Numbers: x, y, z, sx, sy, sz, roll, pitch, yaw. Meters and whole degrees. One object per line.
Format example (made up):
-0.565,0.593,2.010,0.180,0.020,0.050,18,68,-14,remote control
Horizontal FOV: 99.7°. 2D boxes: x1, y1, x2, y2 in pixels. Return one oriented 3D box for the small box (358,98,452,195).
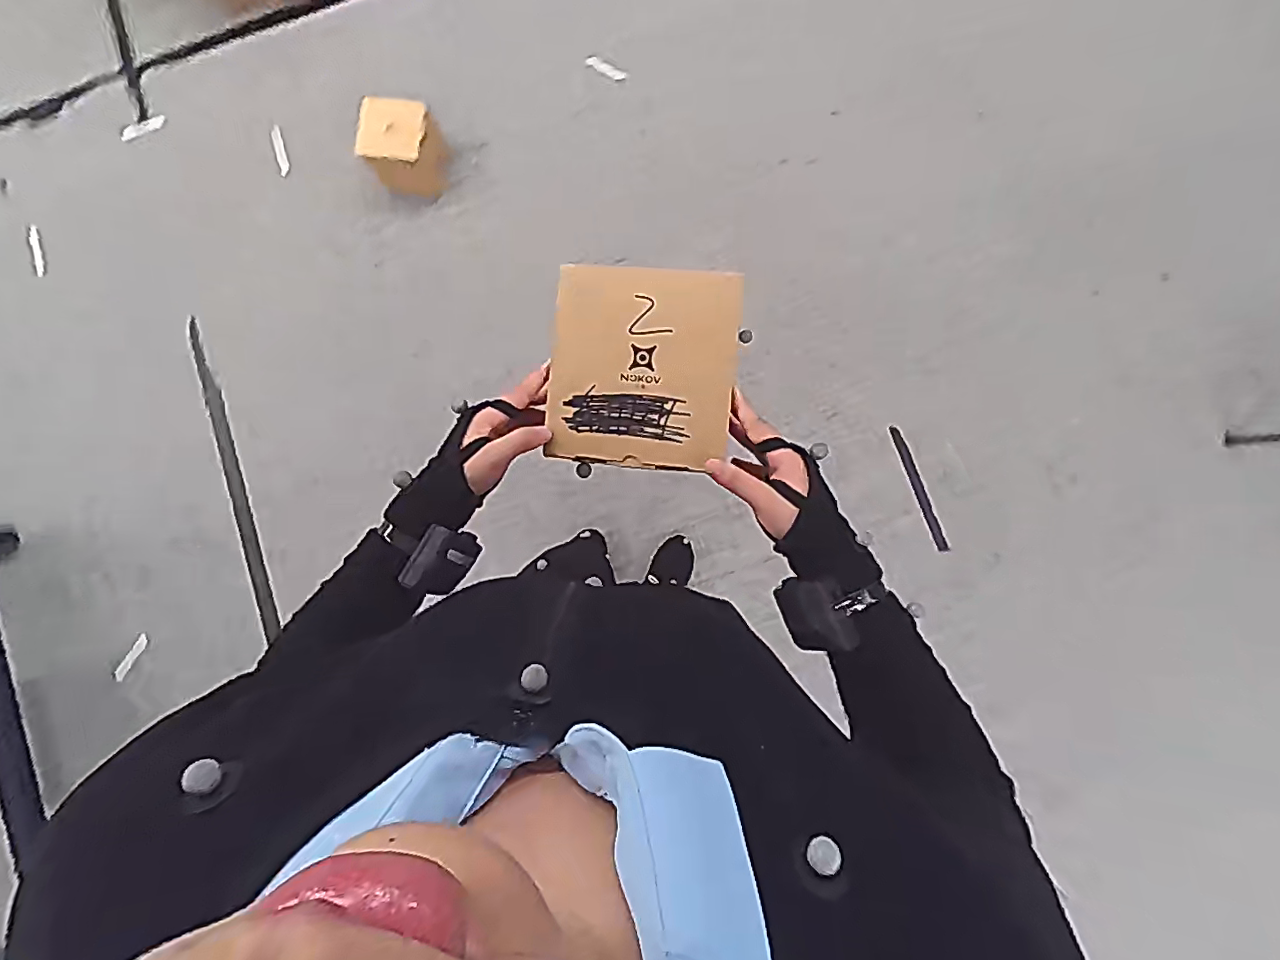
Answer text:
-0.661,-0.939,1.535,0.179,0.176,0.168,7,85,2,small box
